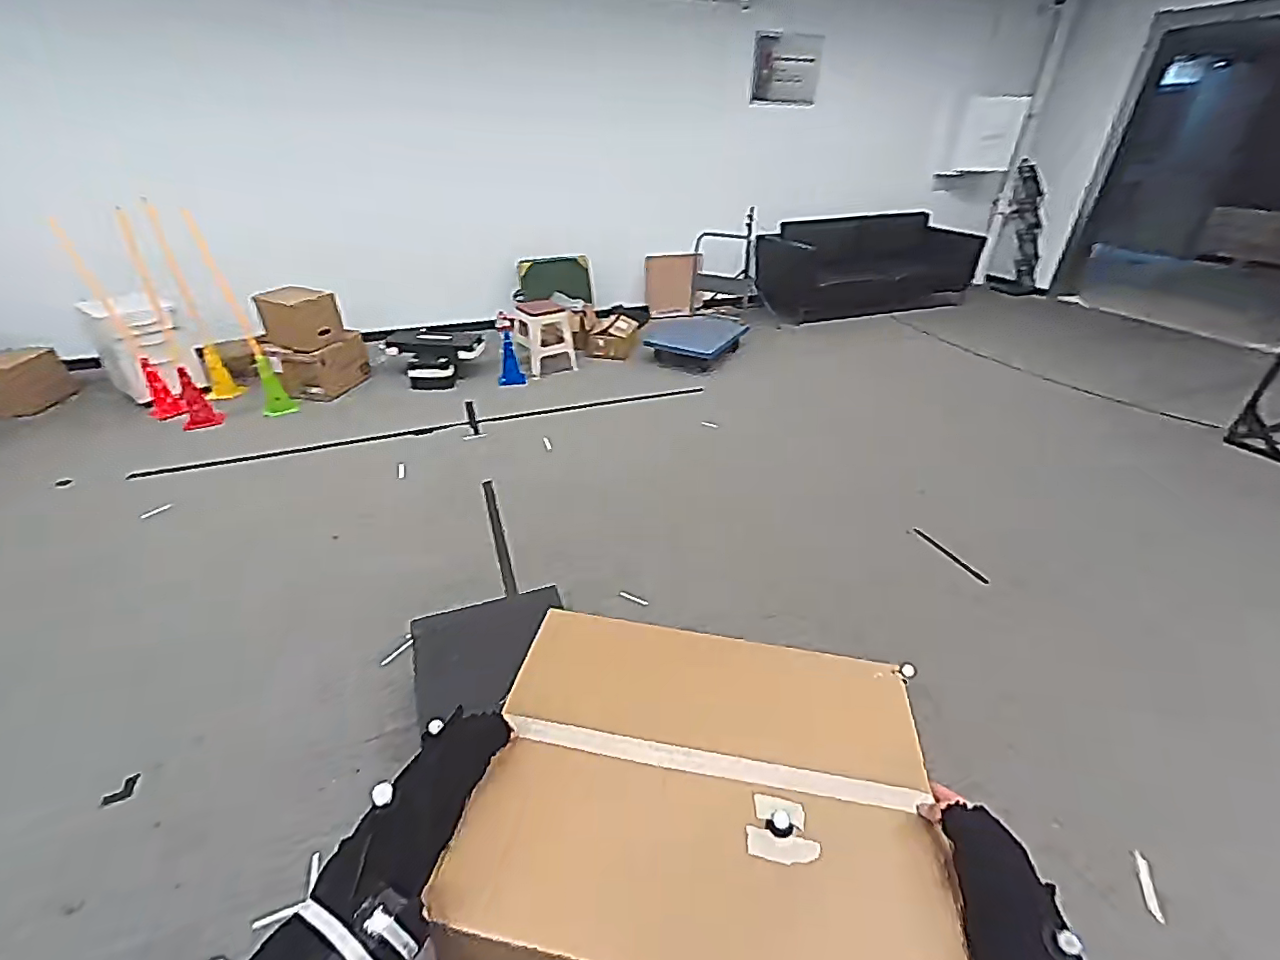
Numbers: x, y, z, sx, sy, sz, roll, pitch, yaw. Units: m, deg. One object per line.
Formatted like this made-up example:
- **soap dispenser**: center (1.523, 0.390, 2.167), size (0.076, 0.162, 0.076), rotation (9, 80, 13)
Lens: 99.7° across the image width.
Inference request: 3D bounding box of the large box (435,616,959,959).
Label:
- **large box**: center (0.052, 0.393, 0.596), size (0.408, 0.320, 0.320), rotation (7, 34, 8)
